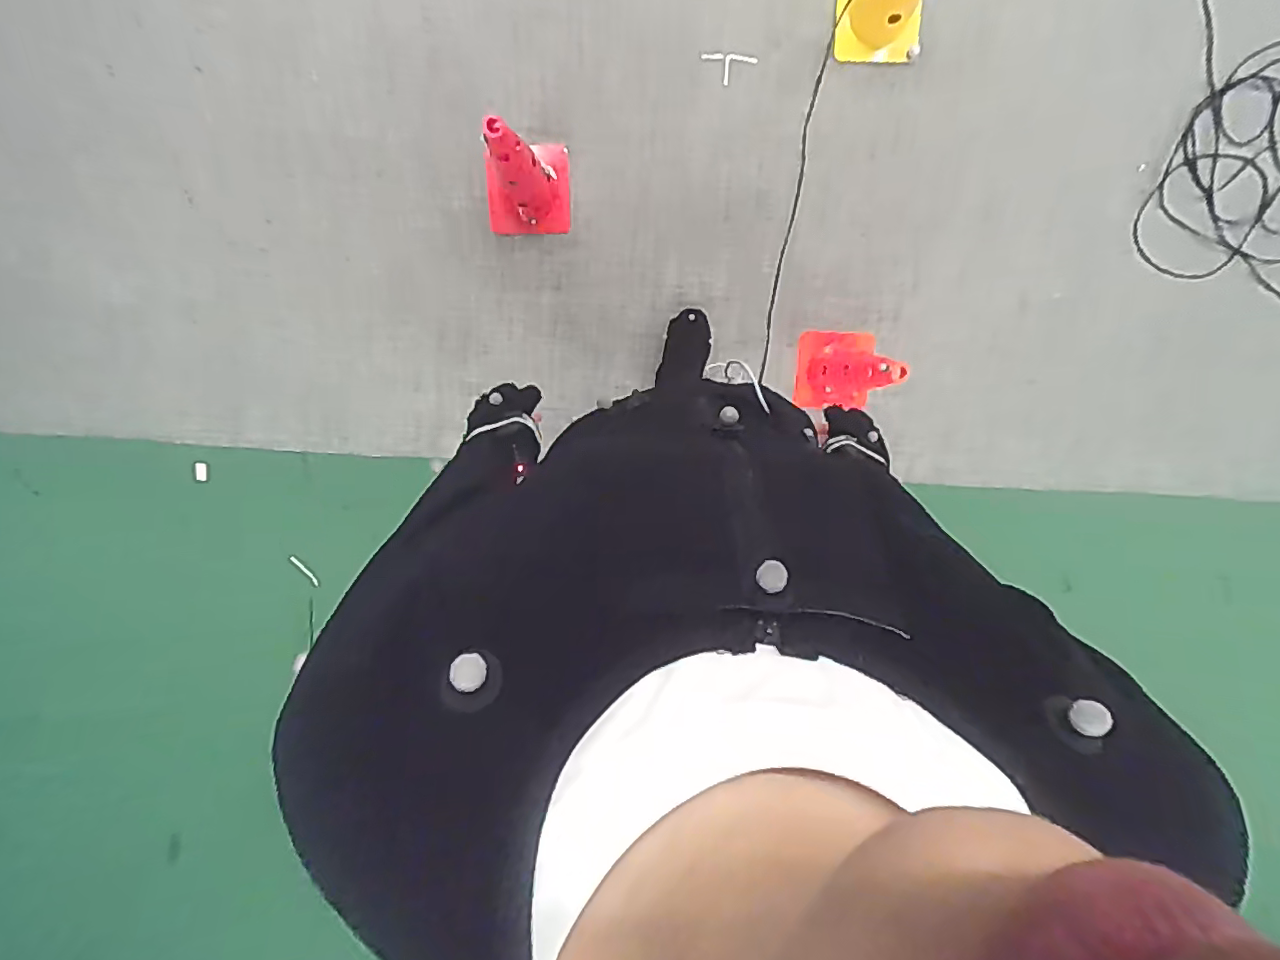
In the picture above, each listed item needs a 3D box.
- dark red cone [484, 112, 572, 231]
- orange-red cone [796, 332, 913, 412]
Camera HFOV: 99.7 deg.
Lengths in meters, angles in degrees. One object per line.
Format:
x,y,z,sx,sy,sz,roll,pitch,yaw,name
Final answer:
-0.261,-0.665,1.127,0.202,0.394,0.201,-2,103,-1,dark red cone
0.520,-0.251,1.253,0.198,0.360,0.199,3,101,-3,orange-red cone
